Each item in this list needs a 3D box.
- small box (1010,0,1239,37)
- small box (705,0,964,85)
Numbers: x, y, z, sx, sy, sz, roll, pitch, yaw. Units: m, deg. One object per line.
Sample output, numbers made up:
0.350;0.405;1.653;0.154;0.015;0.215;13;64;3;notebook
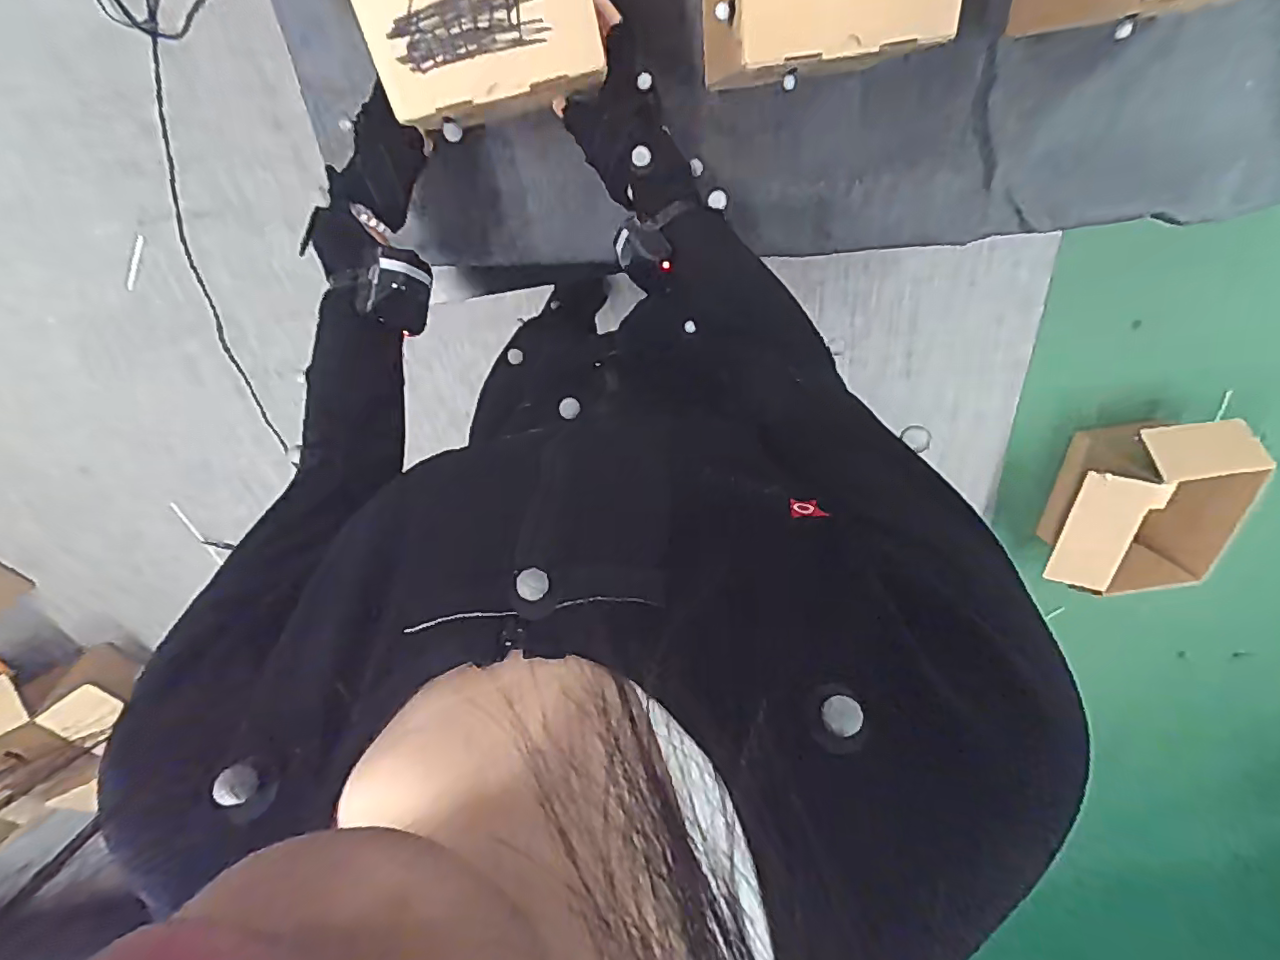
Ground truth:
0.441;-0.487;0.432;0.168;0.176;0.179;-8;123;0;small box
0.146;-0.441;0.436;0.168;0.176;0.179;-9;123;0;small box
